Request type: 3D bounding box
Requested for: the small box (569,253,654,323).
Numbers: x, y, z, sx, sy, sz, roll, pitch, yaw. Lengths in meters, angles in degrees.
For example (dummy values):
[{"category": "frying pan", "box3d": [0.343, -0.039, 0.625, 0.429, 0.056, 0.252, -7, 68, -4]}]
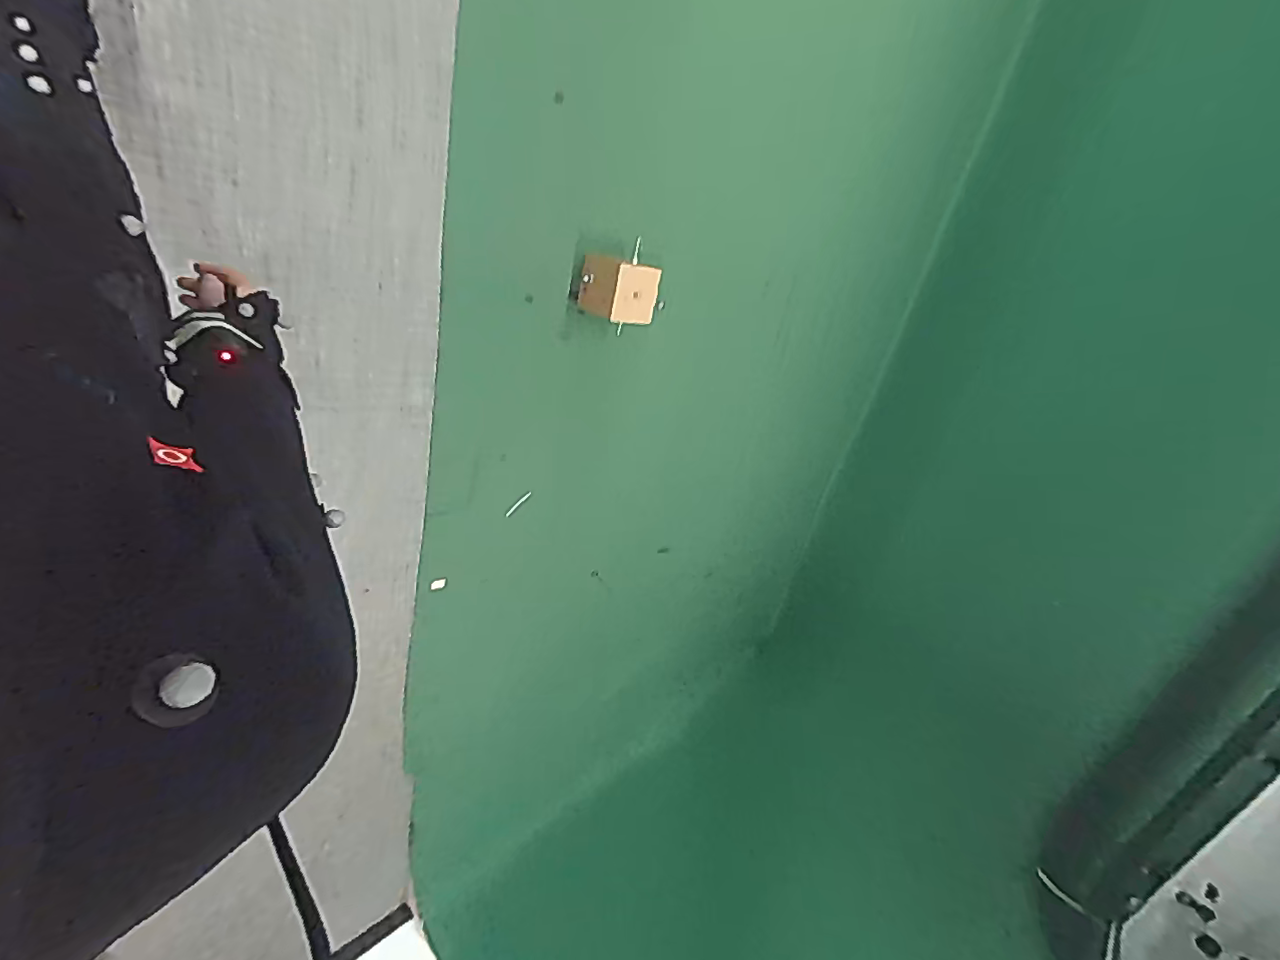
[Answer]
[{"category": "small box", "box3d": [-0.090, -0.592, 1.667, 0.179, 0.176, 0.168, -12, 124, -44]}]
